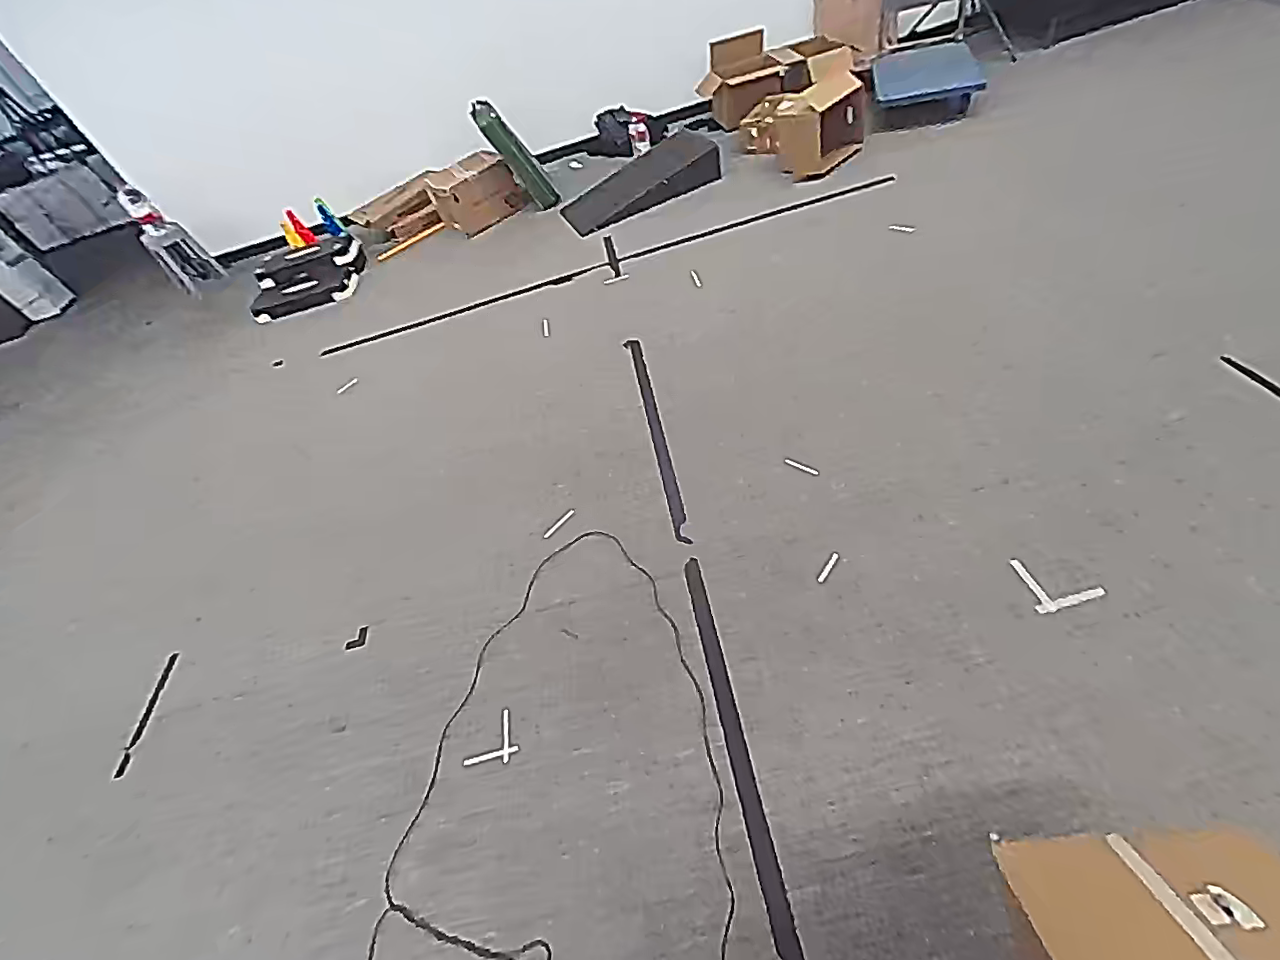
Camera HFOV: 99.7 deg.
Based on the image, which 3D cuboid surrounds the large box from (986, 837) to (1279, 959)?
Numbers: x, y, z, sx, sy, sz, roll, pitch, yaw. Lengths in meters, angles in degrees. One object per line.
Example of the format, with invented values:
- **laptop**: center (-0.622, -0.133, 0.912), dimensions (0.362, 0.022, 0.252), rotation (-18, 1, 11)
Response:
- **large box**: center (0.648, 0.669, 0.571), dimensions (0.320, 0.408, 0.320), rotation (-13, 88, 13)
